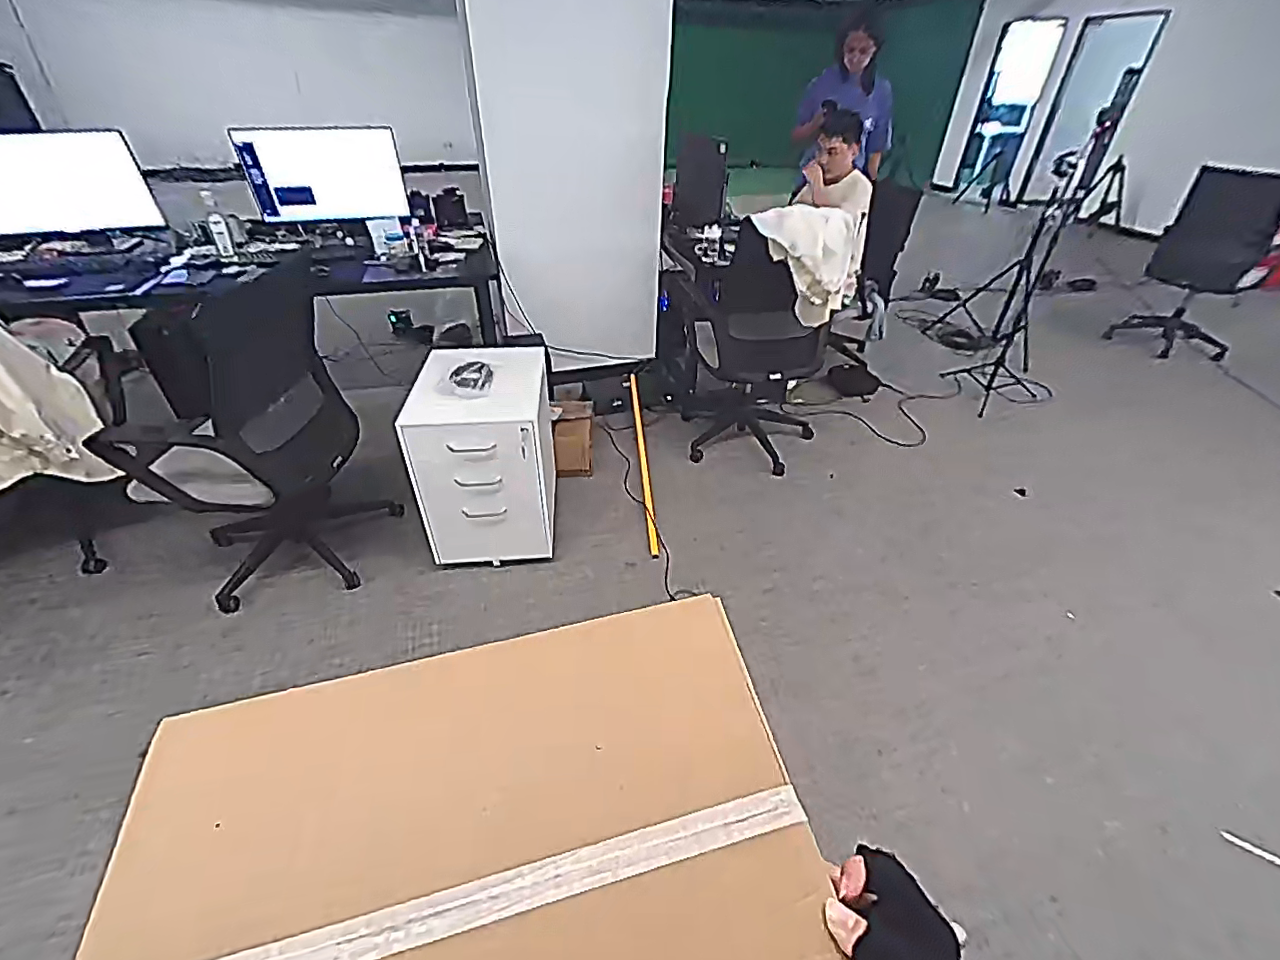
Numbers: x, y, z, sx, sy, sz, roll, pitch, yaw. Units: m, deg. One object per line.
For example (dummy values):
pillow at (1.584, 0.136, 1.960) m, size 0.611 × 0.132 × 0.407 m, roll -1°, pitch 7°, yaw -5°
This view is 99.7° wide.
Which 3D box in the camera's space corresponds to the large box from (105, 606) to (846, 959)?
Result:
large box at (-0.095, 0.349, 0.425) m, size 0.408 × 0.320 × 0.320 m, roll -11°, pitch 48°, yaw -9°
